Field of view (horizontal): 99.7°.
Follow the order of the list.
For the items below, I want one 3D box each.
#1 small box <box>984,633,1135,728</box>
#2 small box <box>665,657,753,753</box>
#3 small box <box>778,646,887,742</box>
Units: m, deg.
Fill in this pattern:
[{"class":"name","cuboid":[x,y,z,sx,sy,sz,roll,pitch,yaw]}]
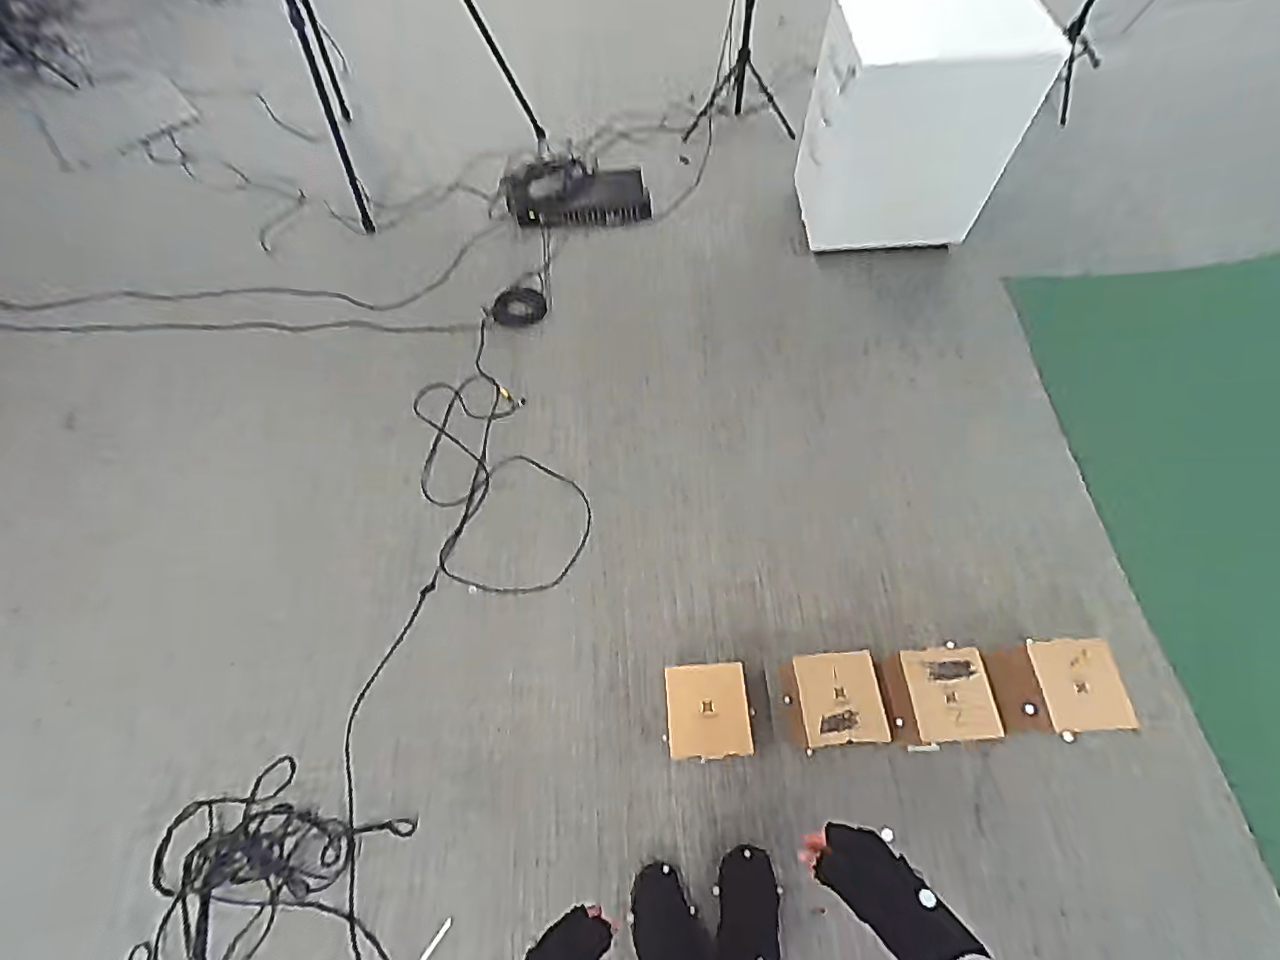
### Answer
[{"class":"small box","cuboid":[0.885,0.435,1.162,0.168,0.176,0.179,-3,64,1]},{"class":"small box","cuboid":[0.141,0.491,1.173,0.168,0.176,0.179,-4,64,1]},{"class":"small box","cuboid":[0.405,0.466,1.169,0.168,0.176,0.179,-5,62,1]}]
